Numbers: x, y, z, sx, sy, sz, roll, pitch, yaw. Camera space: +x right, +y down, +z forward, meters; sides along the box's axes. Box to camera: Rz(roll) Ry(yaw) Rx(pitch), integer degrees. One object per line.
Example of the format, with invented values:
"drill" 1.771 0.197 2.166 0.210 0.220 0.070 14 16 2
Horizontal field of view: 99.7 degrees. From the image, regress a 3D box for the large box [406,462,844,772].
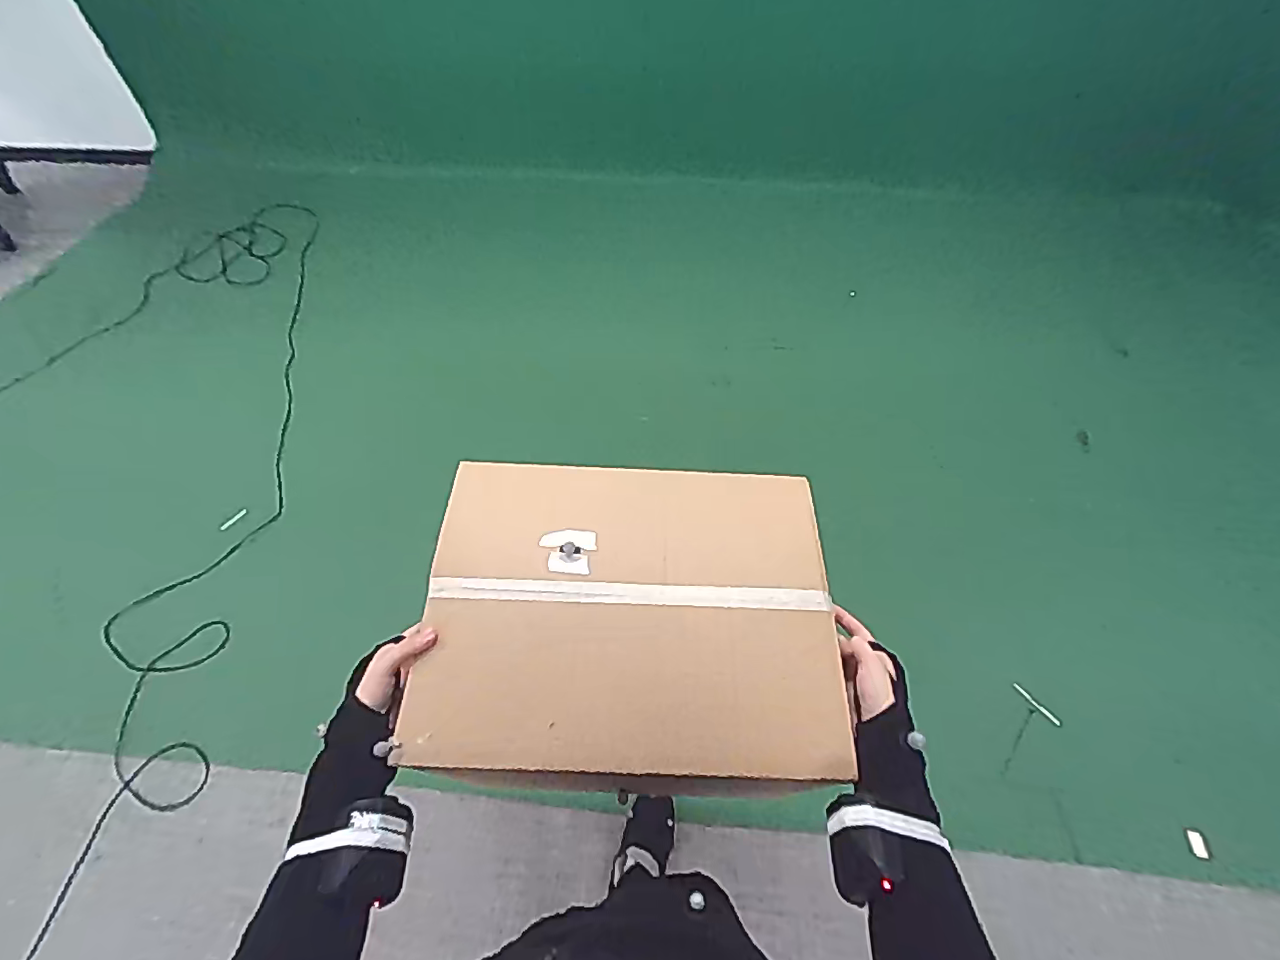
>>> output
"large box" -0.011 0.190 0.689 0.408 0.320 0.320 2 57 0
